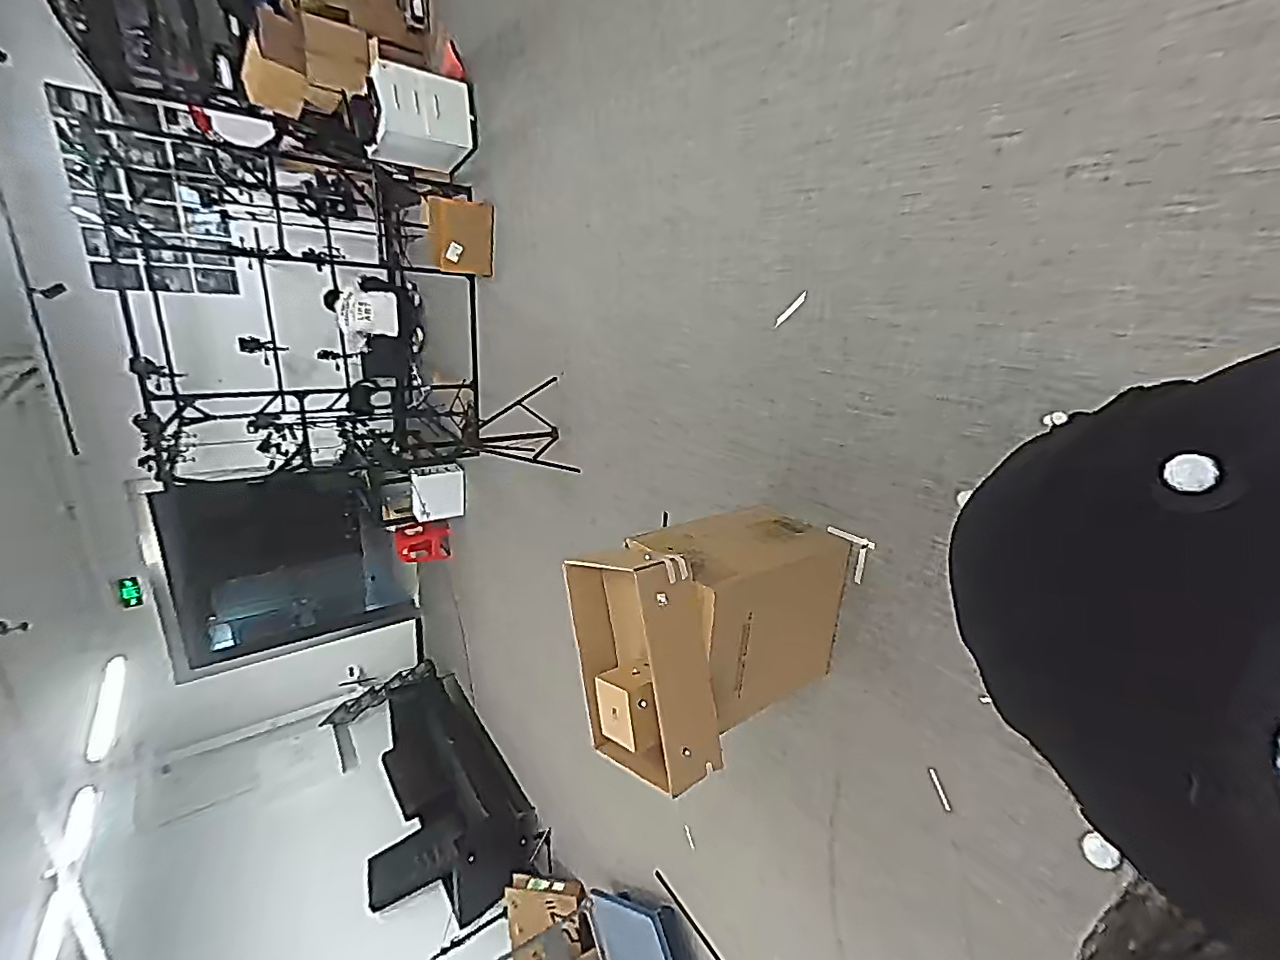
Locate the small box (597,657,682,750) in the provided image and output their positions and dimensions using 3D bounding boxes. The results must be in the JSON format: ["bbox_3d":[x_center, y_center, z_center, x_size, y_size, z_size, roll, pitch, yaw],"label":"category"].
[{"bbox_3d":[0.000,0.629,1.550,0.168,0.176,0.179,-4,95,54],"label":"small box"}]
